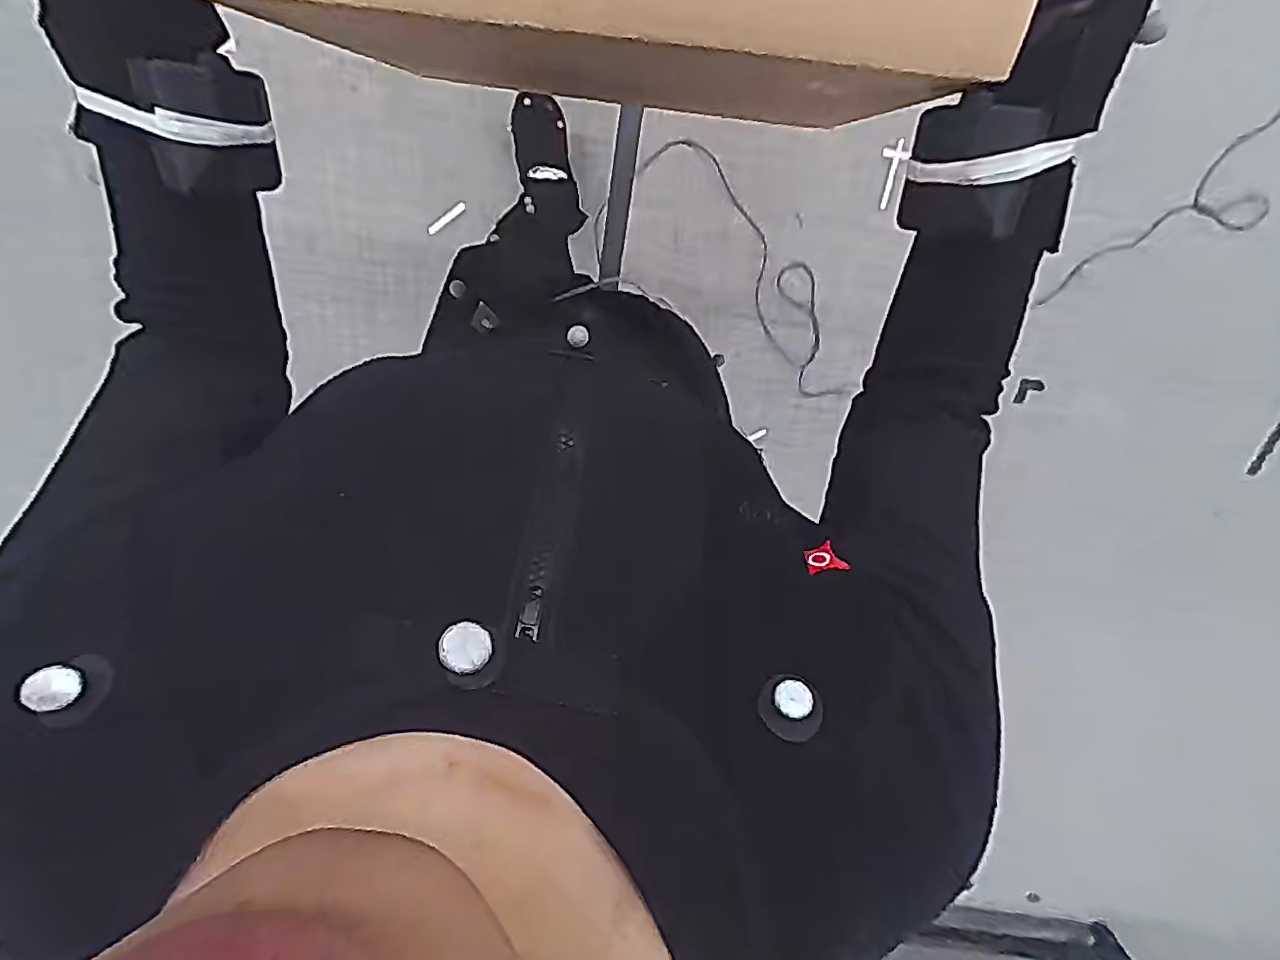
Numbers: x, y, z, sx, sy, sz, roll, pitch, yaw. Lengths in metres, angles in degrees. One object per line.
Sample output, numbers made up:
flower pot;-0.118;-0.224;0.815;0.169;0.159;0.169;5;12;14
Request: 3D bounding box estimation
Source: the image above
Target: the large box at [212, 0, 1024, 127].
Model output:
large box;-0.003;-0.420;0.320;0.408;0.320;0.320;6;121;-1
